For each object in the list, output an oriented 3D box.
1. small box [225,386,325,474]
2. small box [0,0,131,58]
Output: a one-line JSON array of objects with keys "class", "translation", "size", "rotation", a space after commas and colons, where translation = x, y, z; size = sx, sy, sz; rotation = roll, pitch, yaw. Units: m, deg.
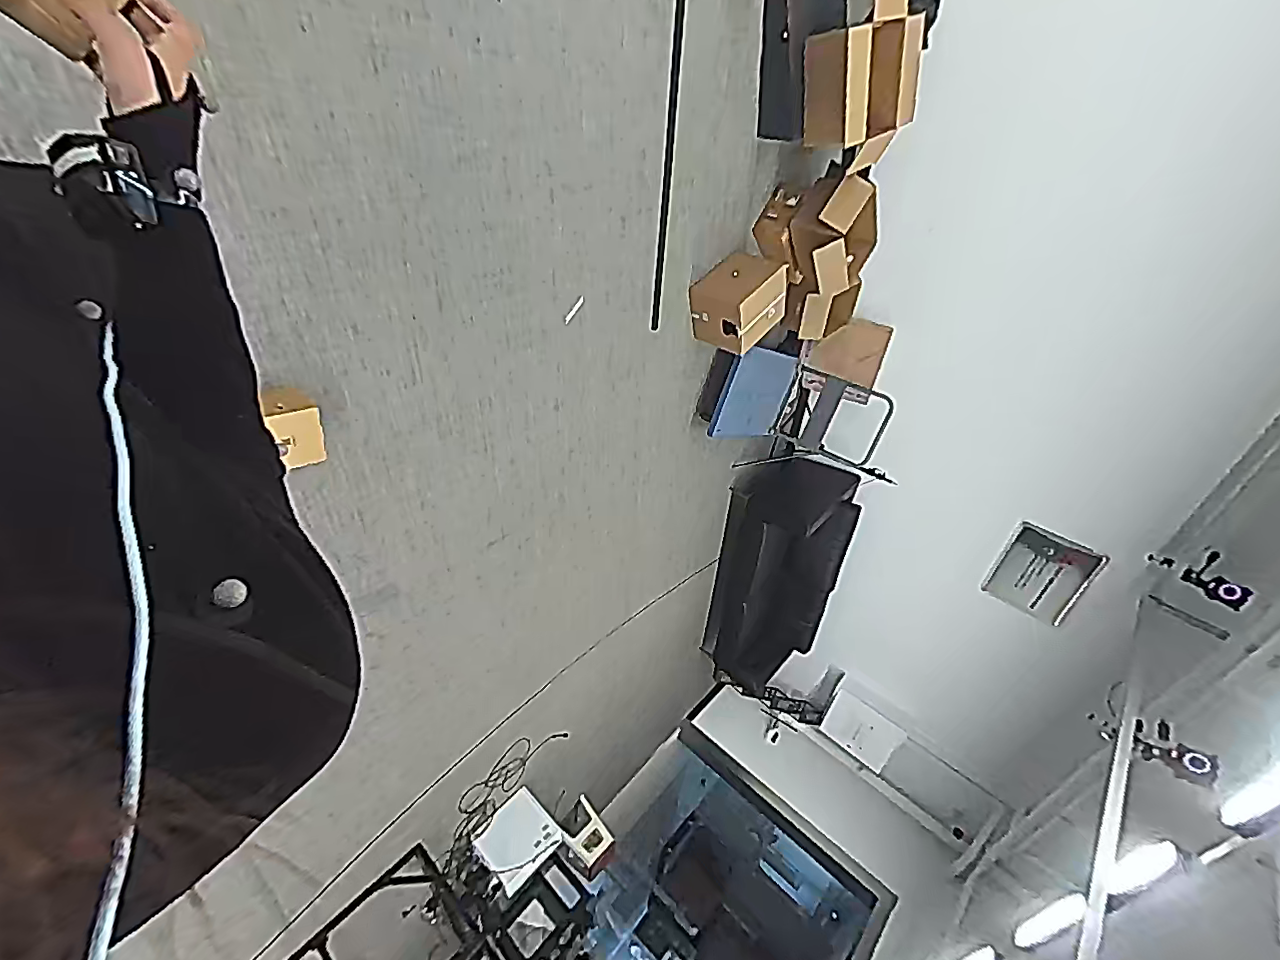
[{"class": "small box", "translation": [-0.998, -0.142, 1.475], "size": [0.179, 0.176, 0.168], "rotation": [-26, 136, -44]}, {"class": "small box", "translation": [-0.481, -0.459, 0.370], "size": [0.168, 0.176, 0.179], "rotation": [-54, 169, -2]}]
